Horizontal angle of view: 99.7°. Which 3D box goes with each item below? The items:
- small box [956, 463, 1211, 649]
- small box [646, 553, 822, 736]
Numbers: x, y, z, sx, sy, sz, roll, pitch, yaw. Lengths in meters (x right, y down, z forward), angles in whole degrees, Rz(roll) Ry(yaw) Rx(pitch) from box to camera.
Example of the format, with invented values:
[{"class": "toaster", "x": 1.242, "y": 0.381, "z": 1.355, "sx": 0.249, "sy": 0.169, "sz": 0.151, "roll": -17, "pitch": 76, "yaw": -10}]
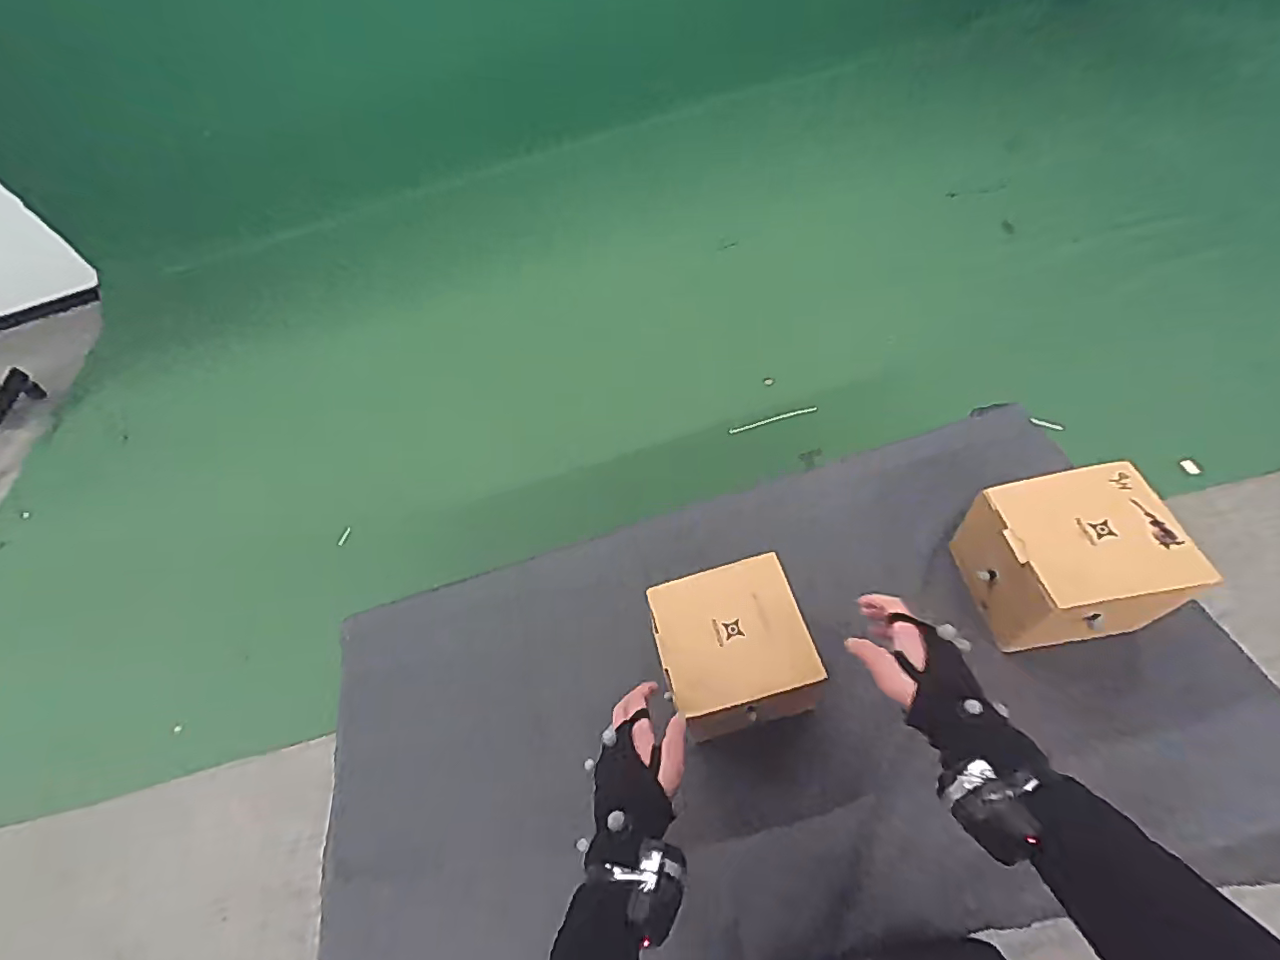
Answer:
[{"class": "small box", "x": 0.539, "y": 0.106, "z": 0.699, "sx": 0.179, "sy": 0.176, "sz": 0.168, "roll": -12, "pitch": 56, "yaw": 5}, {"class": "small box", "x": 0.120, "y": 0.225, "z": 0.718, "sx": 0.179, "sy": 0.176, "sz": 0.168, "roll": -16, "pitch": 56, "yaw": 0}]
